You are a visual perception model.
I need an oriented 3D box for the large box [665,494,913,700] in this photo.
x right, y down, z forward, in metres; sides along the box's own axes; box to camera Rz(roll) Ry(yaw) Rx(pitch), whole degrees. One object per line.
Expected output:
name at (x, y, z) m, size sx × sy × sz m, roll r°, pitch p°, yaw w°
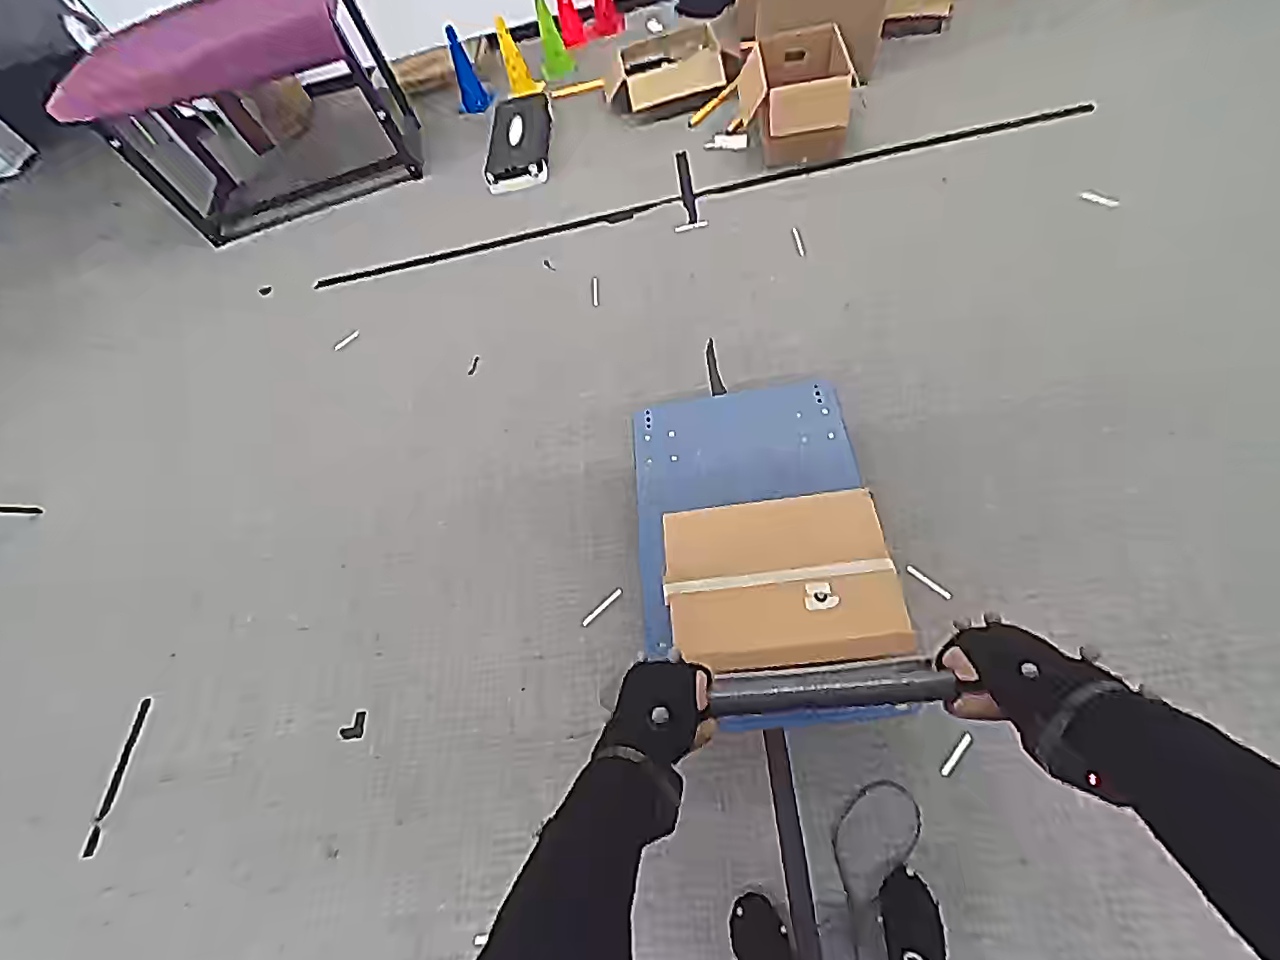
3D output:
large box at (0.279, 0.260, 1.130) m, size 0.408 × 0.320 × 0.320 m, roll -8°, pitch 61°, yaw 6°
